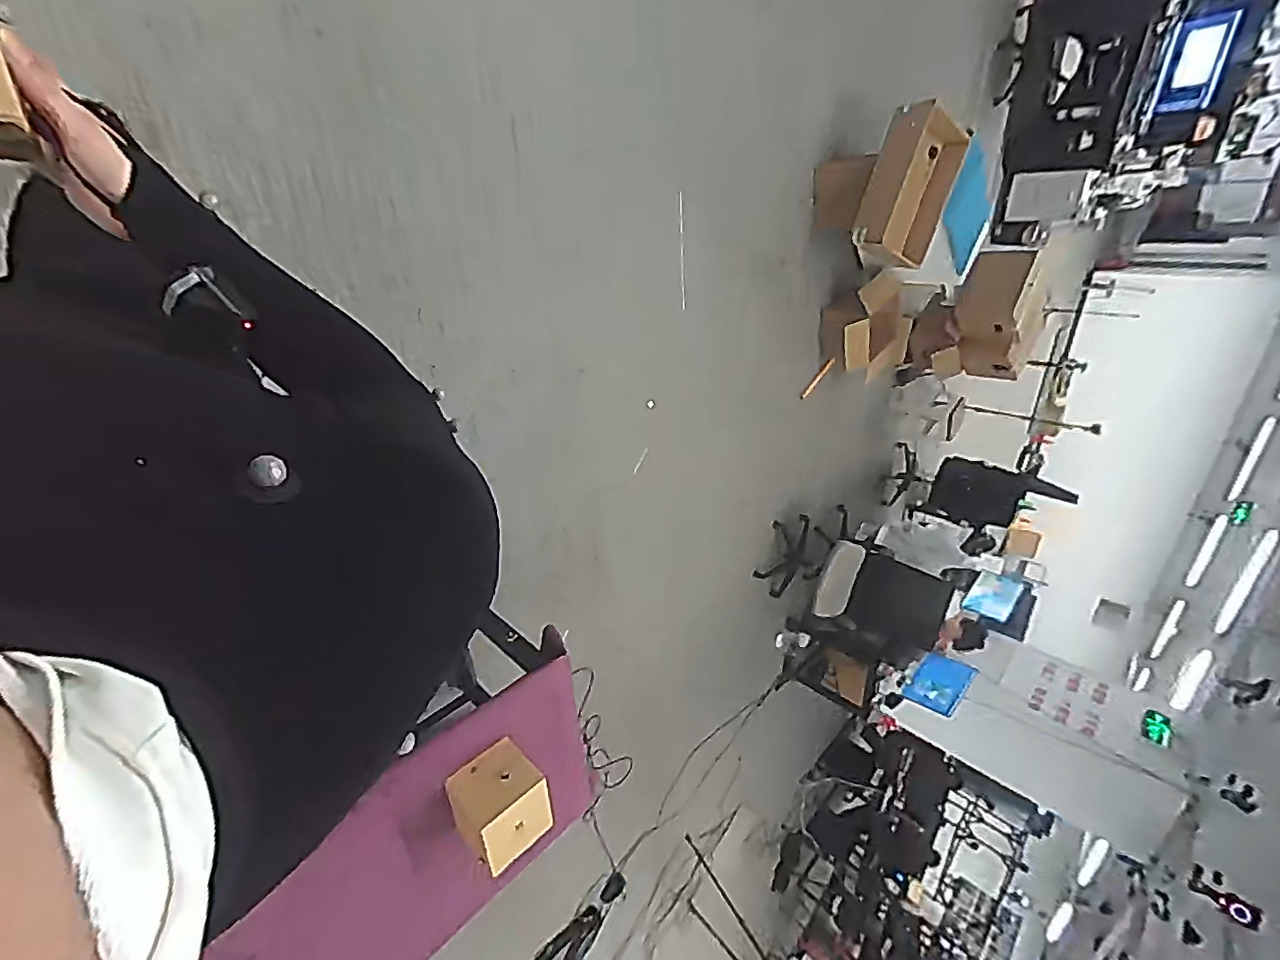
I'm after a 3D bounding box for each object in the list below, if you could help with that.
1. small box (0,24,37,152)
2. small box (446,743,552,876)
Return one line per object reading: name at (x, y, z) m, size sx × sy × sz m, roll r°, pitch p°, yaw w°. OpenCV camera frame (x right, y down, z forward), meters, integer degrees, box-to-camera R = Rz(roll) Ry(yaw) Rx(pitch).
small box at (-0.529, -0.324, 0.337) m, size 0.168 × 0.176 × 0.179 m, roll -19°, pitch 116°, yaw -39°
small box at (-0.327, 0.747, 1.251) m, size 0.168 × 0.176 × 0.179 m, roll -26°, pitch 125°, yaw -39°
